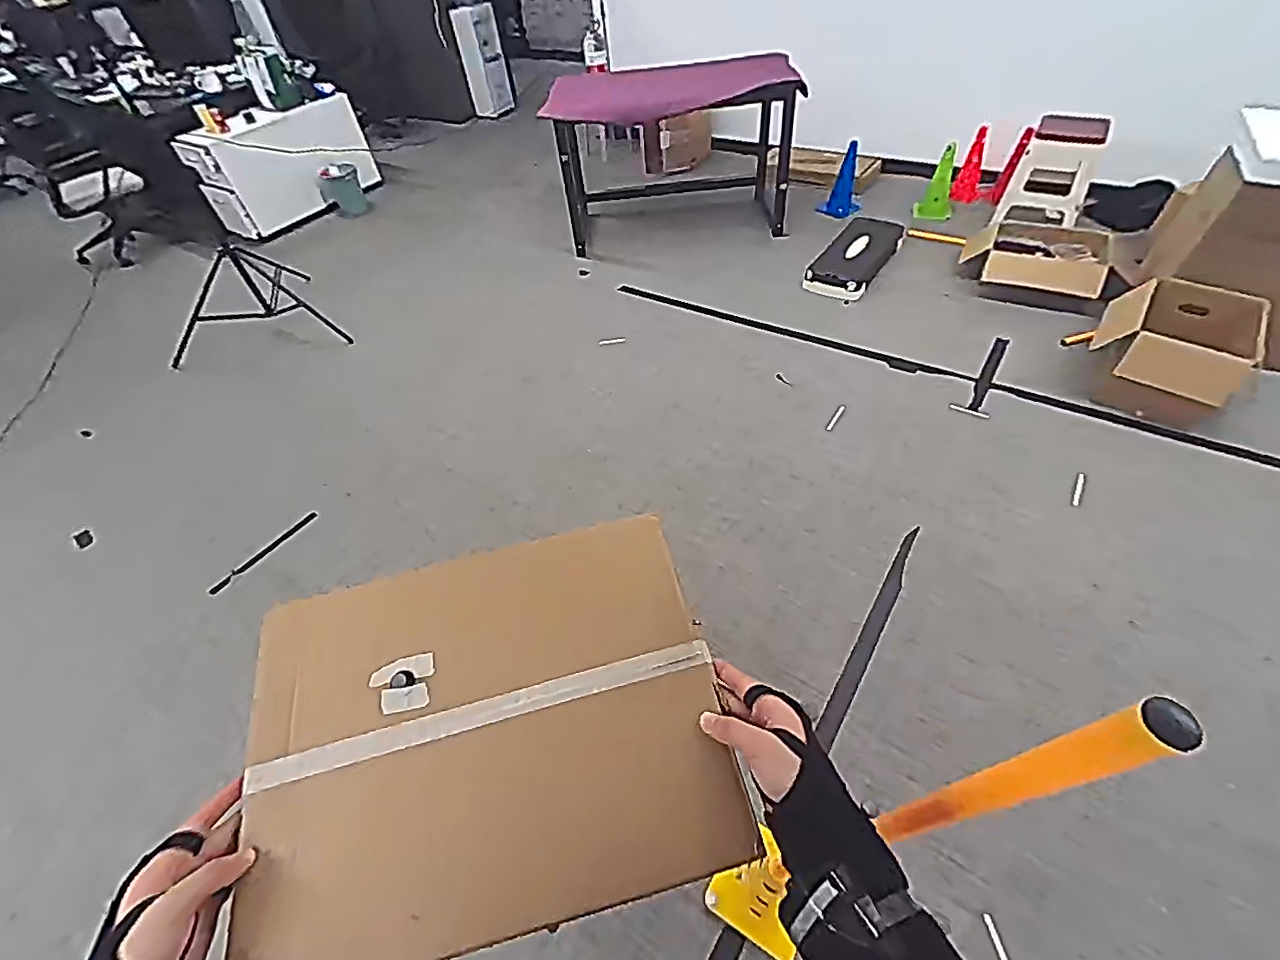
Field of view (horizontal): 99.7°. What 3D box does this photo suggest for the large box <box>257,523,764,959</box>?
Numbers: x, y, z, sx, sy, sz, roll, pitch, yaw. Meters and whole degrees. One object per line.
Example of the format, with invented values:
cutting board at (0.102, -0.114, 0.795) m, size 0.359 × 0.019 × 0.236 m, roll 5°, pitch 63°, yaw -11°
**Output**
large box at (-0.119, 0.298, 0.613) m, size 0.408 × 0.320 × 0.320 m, roll -15°, pitch 56°, yaw -5°
